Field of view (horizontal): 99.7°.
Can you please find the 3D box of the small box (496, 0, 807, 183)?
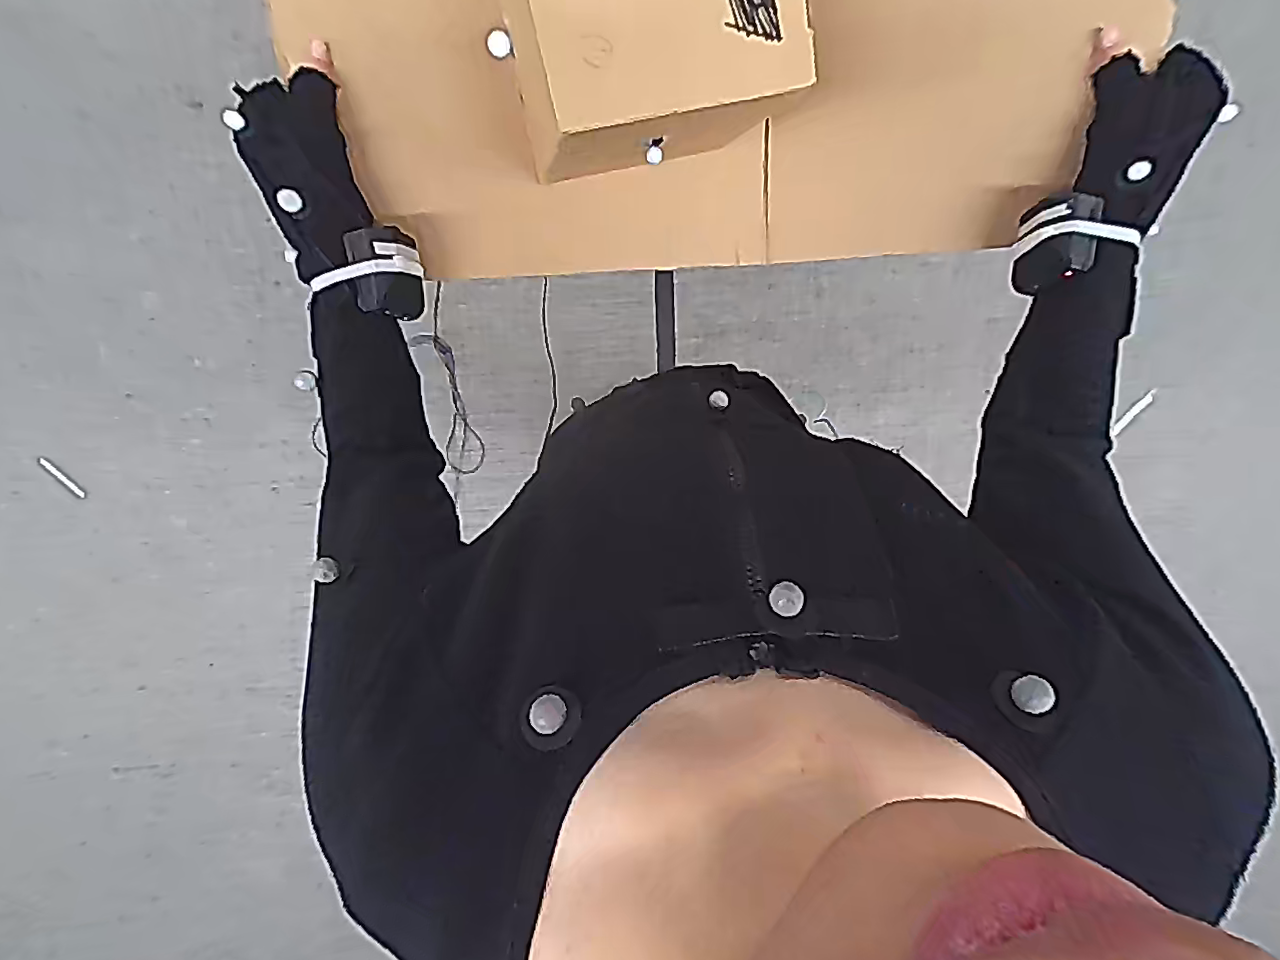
[{"bbox_3d":[-0.003,-0.336,0.396,0.179,0.176,0.168,-16,111,-8],"label":"small box"}]
